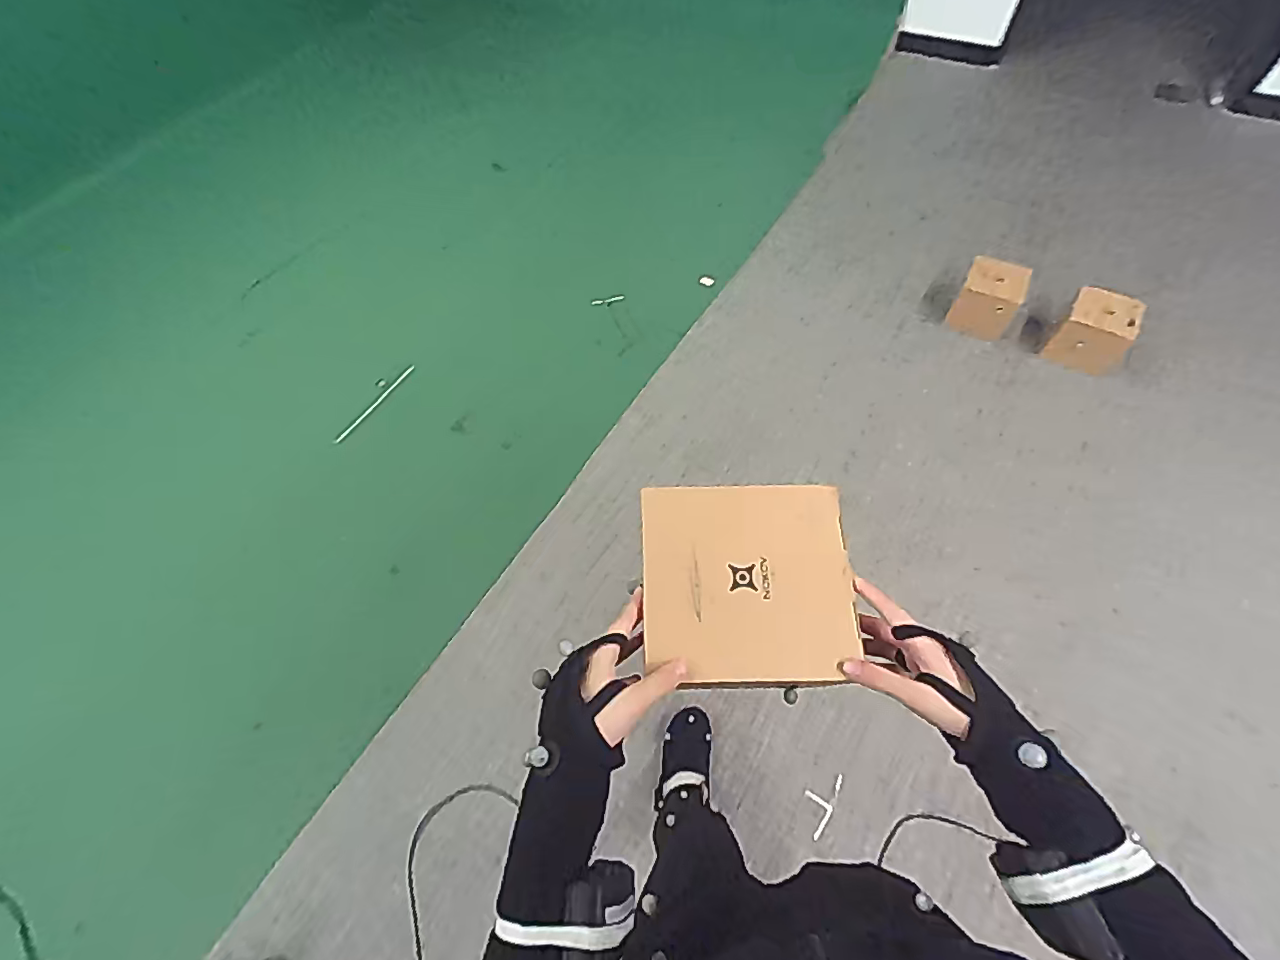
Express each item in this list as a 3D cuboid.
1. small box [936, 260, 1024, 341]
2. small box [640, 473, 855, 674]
[{"bbox_3d":[1.116,-0.586,1.783,0.179,0.176,0.168,24,66,18],"label":"small box"},{"bbox_3d":[0.089,0.101,0.540,0.179,0.176,0.168,-1,67,1],"label":"small box"}]
